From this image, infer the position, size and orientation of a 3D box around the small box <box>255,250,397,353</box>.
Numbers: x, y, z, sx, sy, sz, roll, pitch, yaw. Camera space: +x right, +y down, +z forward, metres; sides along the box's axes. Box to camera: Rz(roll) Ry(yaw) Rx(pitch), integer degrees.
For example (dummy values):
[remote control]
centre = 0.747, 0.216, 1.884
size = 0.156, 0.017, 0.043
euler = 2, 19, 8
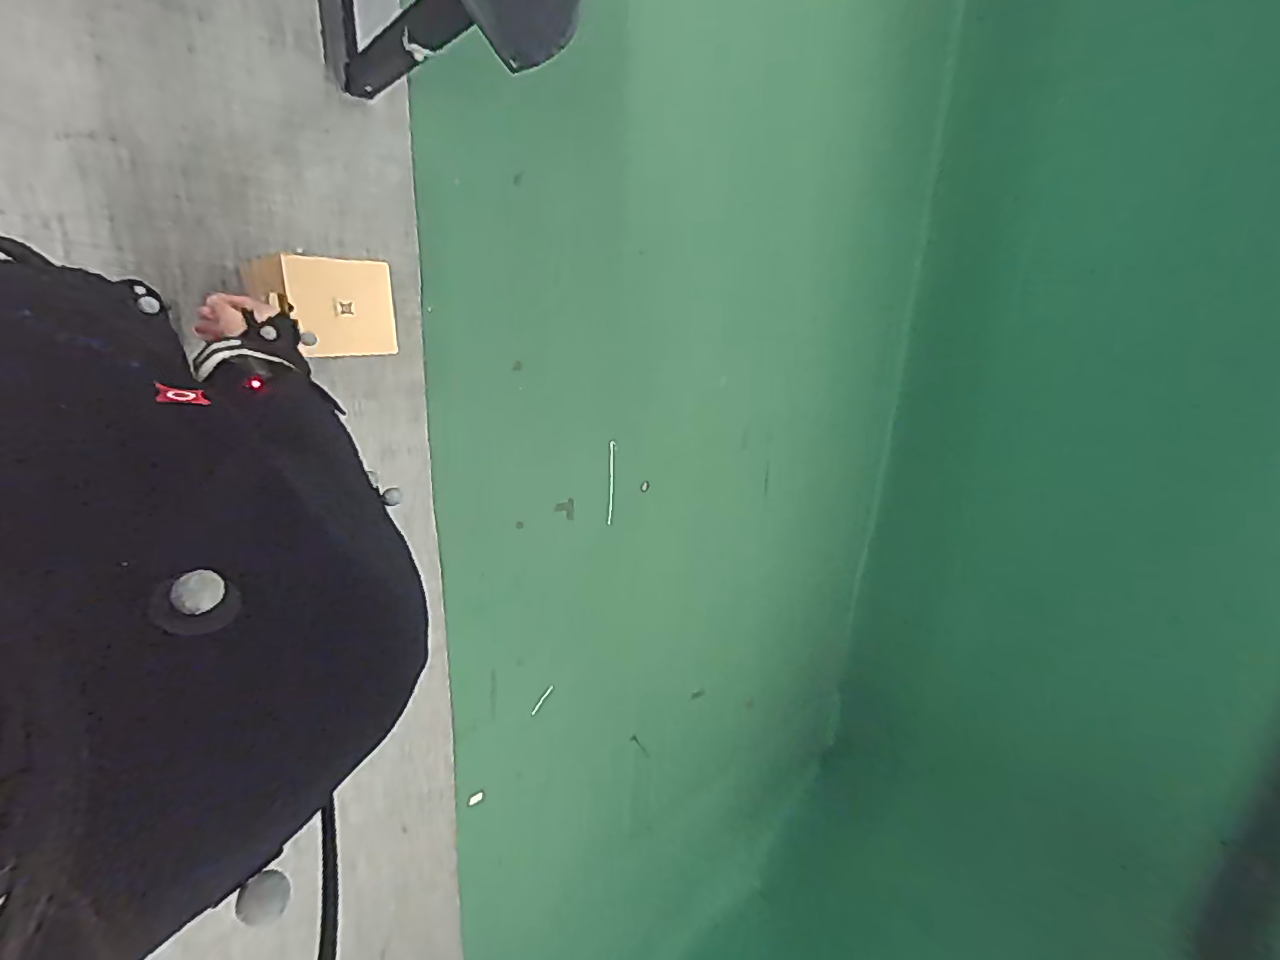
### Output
[small box]
centre = -0.577, -0.327, 0.998
size = 0.179, 0.176, 0.168
euler = -16, 115, -42
